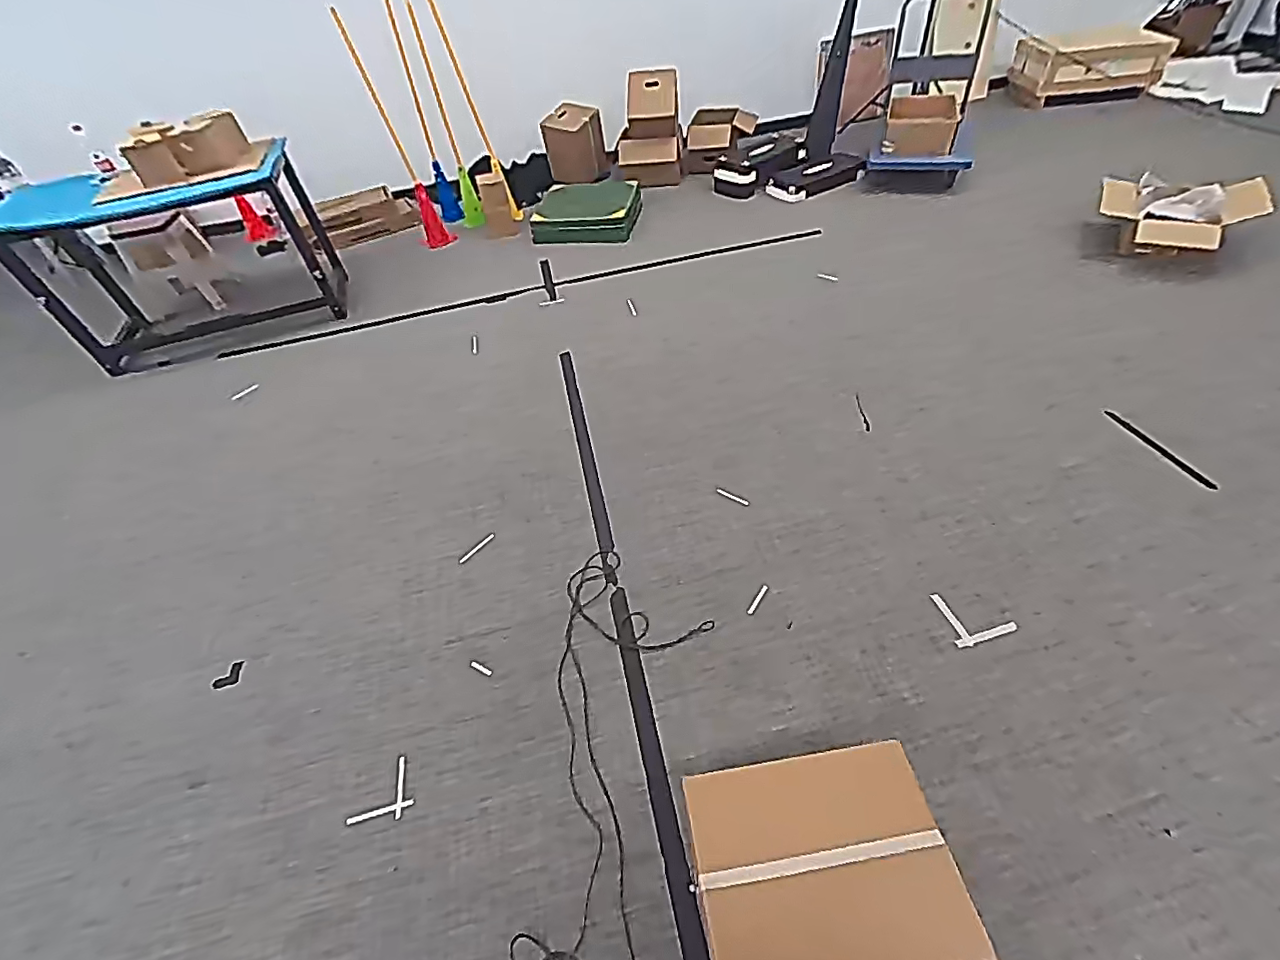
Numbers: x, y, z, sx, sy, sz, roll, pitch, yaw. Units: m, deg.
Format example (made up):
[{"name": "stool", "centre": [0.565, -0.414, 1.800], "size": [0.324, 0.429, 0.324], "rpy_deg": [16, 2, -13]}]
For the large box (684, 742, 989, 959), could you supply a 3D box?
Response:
[{"name": "large box", "centre": [0.310, 0.724, 0.987], "size": [0.408, 0.320, 0.320], "rpy_deg": [-10, 45, -2]}]
